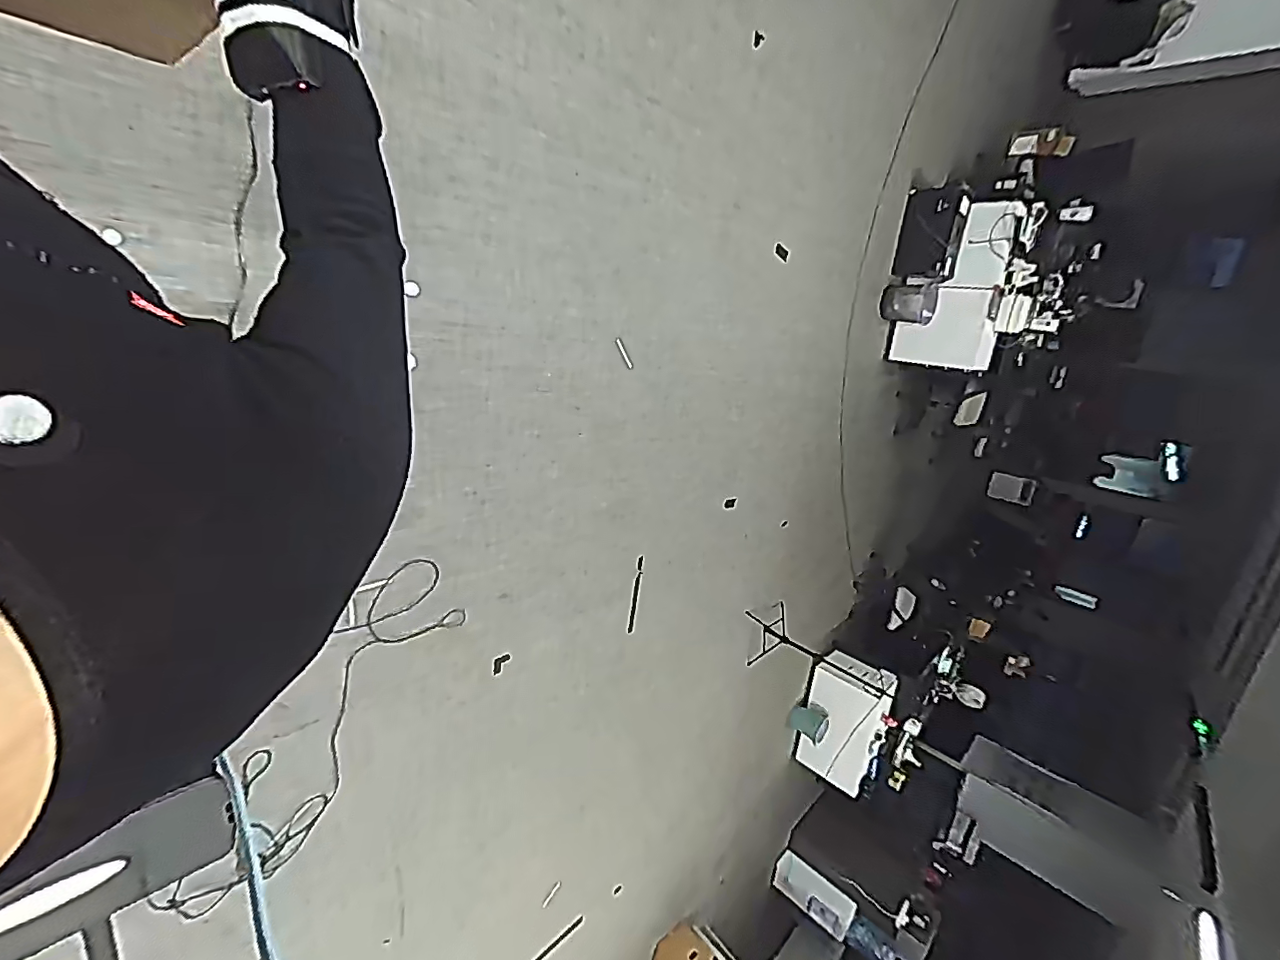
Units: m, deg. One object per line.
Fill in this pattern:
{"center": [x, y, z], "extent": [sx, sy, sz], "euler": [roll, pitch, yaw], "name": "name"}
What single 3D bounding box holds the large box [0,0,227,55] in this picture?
{"center": [-0.490, -0.498, 0.275], "extent": [0.408, 0.320, 0.320], "euler": [-13, 118, -46], "name": "large box"}
